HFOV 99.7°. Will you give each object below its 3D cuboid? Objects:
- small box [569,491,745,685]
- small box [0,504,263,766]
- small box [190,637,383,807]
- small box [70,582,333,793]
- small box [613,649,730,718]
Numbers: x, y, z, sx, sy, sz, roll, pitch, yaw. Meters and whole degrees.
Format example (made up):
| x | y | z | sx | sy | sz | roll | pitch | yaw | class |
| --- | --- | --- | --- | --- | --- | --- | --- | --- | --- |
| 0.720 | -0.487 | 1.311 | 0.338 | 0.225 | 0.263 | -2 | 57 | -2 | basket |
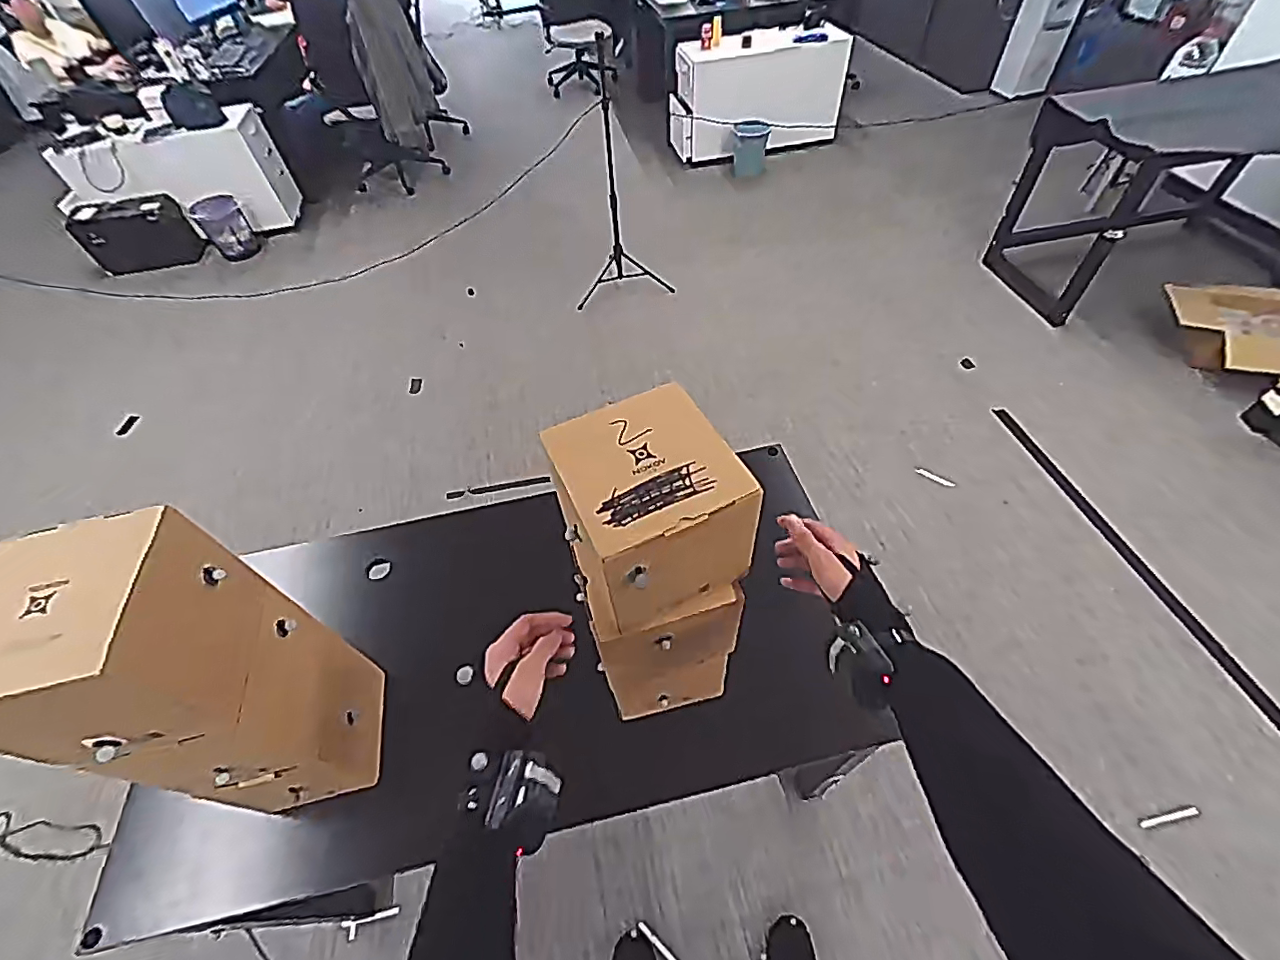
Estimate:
| x | y | z | sx | sy | sz | roll | pitch | yaw | class |
| --- | --- | --- | --- | --- | --- | --- | --- | --- | --- |
| 0.020 | 0.145 | 0.705 | 0.179 | 0.176 | 0.168 | -15 | 53 | -8 | small box |
| -0.512 | 0.154 | 0.531 | 0.168 | 0.176 | 0.179 | -14 | 52 | -5 | small box |
| -0.493 | 0.358 | 0.787 | 0.168 | 0.176 | 0.179 | -13 | 52 | -6 | small box |
| -0.503 | 0.254 | 0.659 | 0.168 | 0.176 | 0.179 | -13 | 52 | -5 | small box |
| 0.029 | 0.242 | 0.838 | 0.168 | 0.176 | 0.179 | -13 | 52 | -5 | small box |
